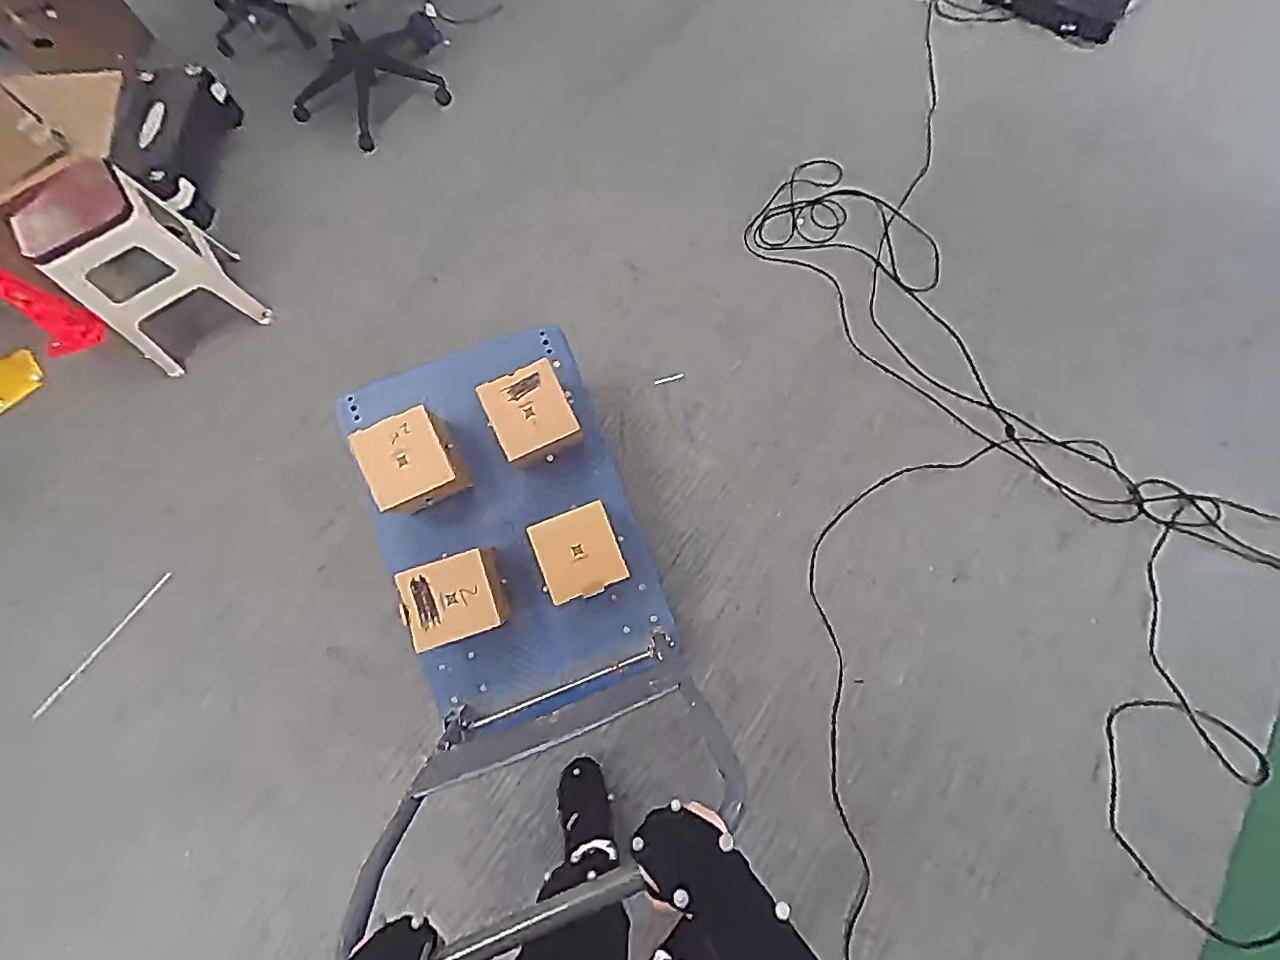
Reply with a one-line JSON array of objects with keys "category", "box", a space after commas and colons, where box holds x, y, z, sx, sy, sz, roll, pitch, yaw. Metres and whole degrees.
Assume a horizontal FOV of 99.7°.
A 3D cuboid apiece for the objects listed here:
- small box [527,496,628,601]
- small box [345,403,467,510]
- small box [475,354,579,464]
[{"category": "small box", "box": [-0.137, 0.148, 1.195, 0.168, 0.176, 0.179, -22, 88, -6]}, {"category": "small box", "box": [-0.499, -0.045, 1.182, 0.168, 0.176, 0.179, -25, 88, -7]}, {"category": "small box", "box": [-0.246, -0.151, 1.212, 0.168, 0.176, 0.179, -25, 88, -6]}]
